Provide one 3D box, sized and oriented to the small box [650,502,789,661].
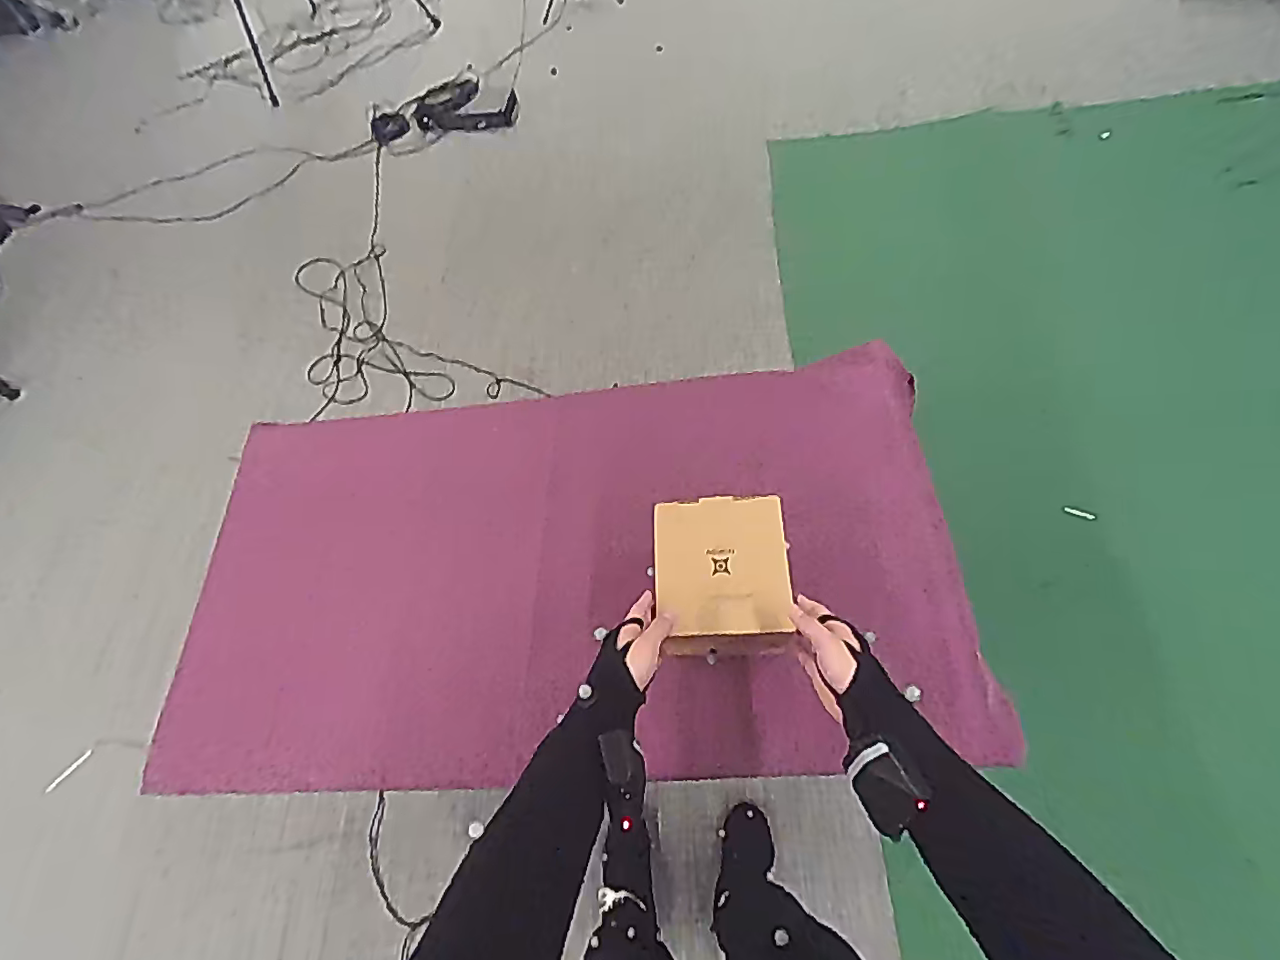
[{"bbox_3d":[0.104,0.145,0.743,0.168,0.176,0.179,-4,63,8],"label":"small box"}]
